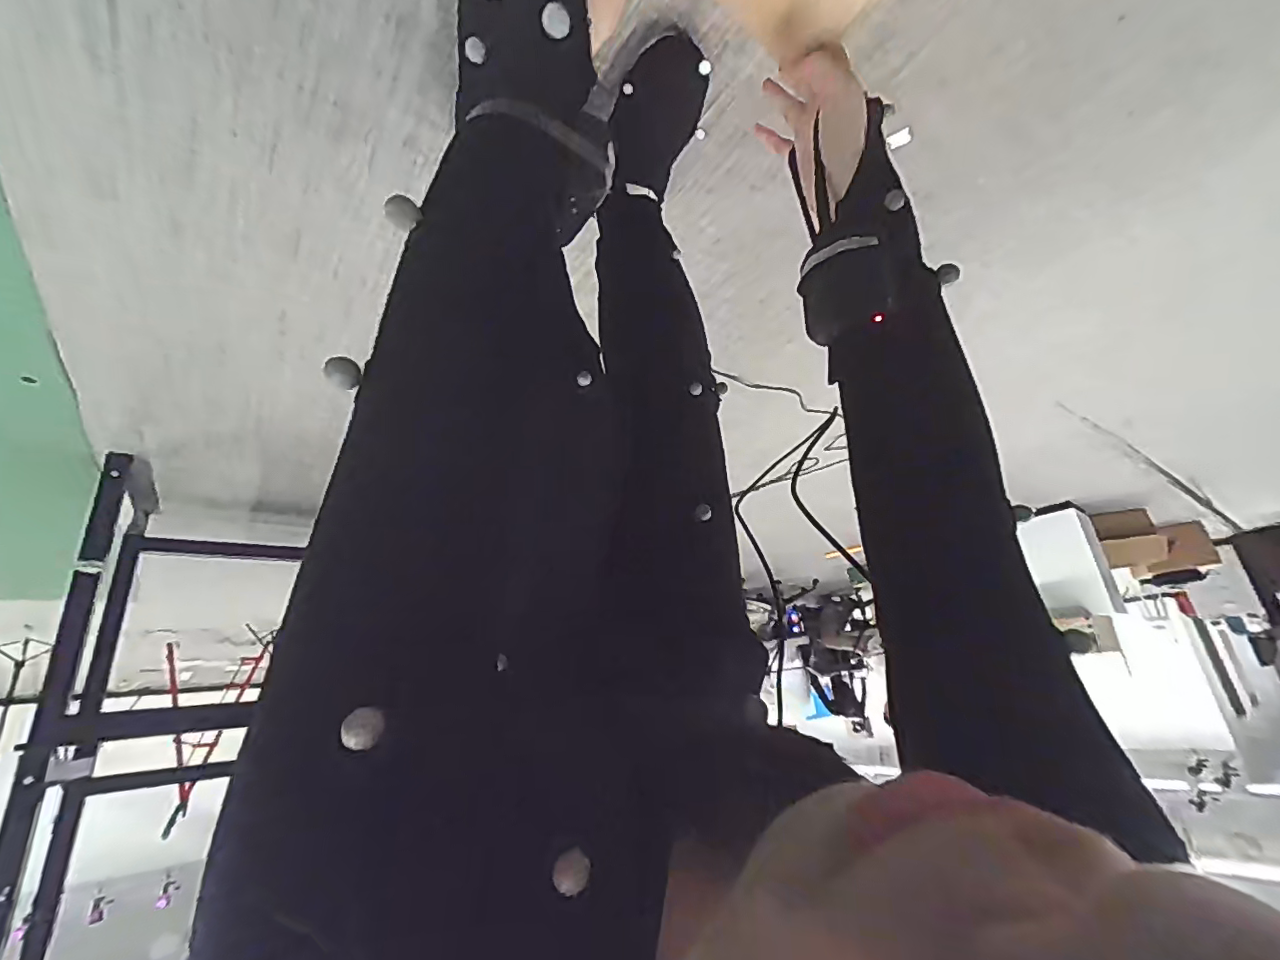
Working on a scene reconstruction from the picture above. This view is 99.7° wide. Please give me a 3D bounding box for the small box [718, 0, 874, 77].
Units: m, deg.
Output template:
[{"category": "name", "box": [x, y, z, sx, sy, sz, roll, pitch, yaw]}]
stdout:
[{"category": "small box", "box": [0.101, -0.419, 0.327, 0.168, 0.176, 0.179, 13, 153, -35]}]
